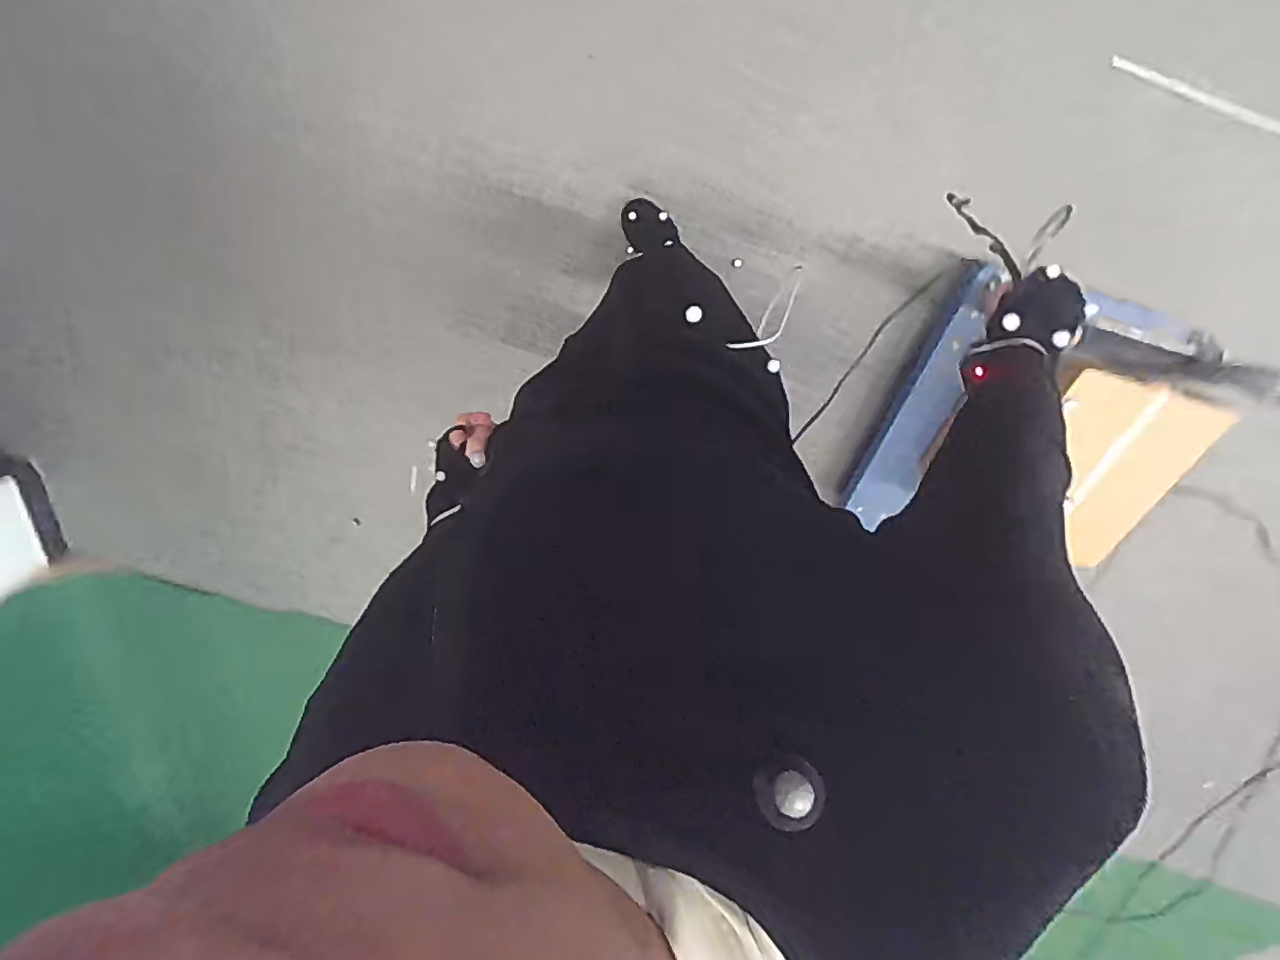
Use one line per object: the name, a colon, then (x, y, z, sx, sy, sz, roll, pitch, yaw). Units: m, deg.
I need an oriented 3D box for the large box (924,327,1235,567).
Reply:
large box: (0.931, -0.081, 1.224, 0.320, 0.320, 0.408, 16, 123, -1)
